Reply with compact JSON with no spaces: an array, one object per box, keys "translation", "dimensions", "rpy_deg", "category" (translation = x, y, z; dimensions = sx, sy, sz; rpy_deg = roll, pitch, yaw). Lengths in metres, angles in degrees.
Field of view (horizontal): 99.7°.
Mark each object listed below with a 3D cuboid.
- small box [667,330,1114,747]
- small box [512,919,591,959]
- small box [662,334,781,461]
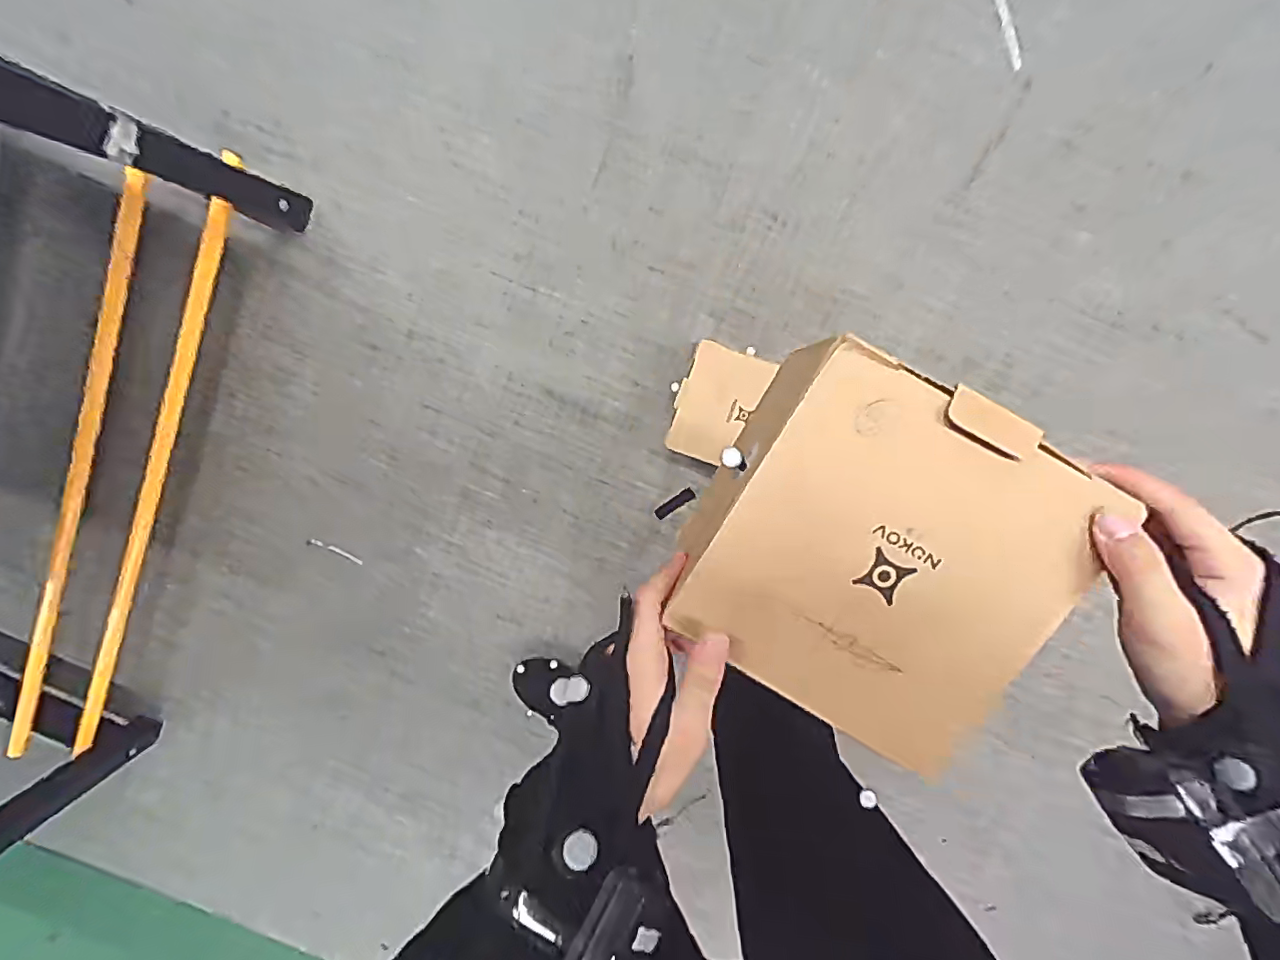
[{"translation":[0.133,0.023,0.362],"dimensions":[0.168,0.176,0.179],"rpy_deg":[30,103,2],"category":"small box"},{"translation":[-0.206,1.091,1.149],"dimensions":[0.168,0.176,0.179],"rpy_deg":[15,104,1],"category":"small box"},{"translation":[0.145,-0.119,0.854],"dimensions":[0.179,0.176,0.168],"rpy_deg":[19,103,1],"category":"small box"}]
